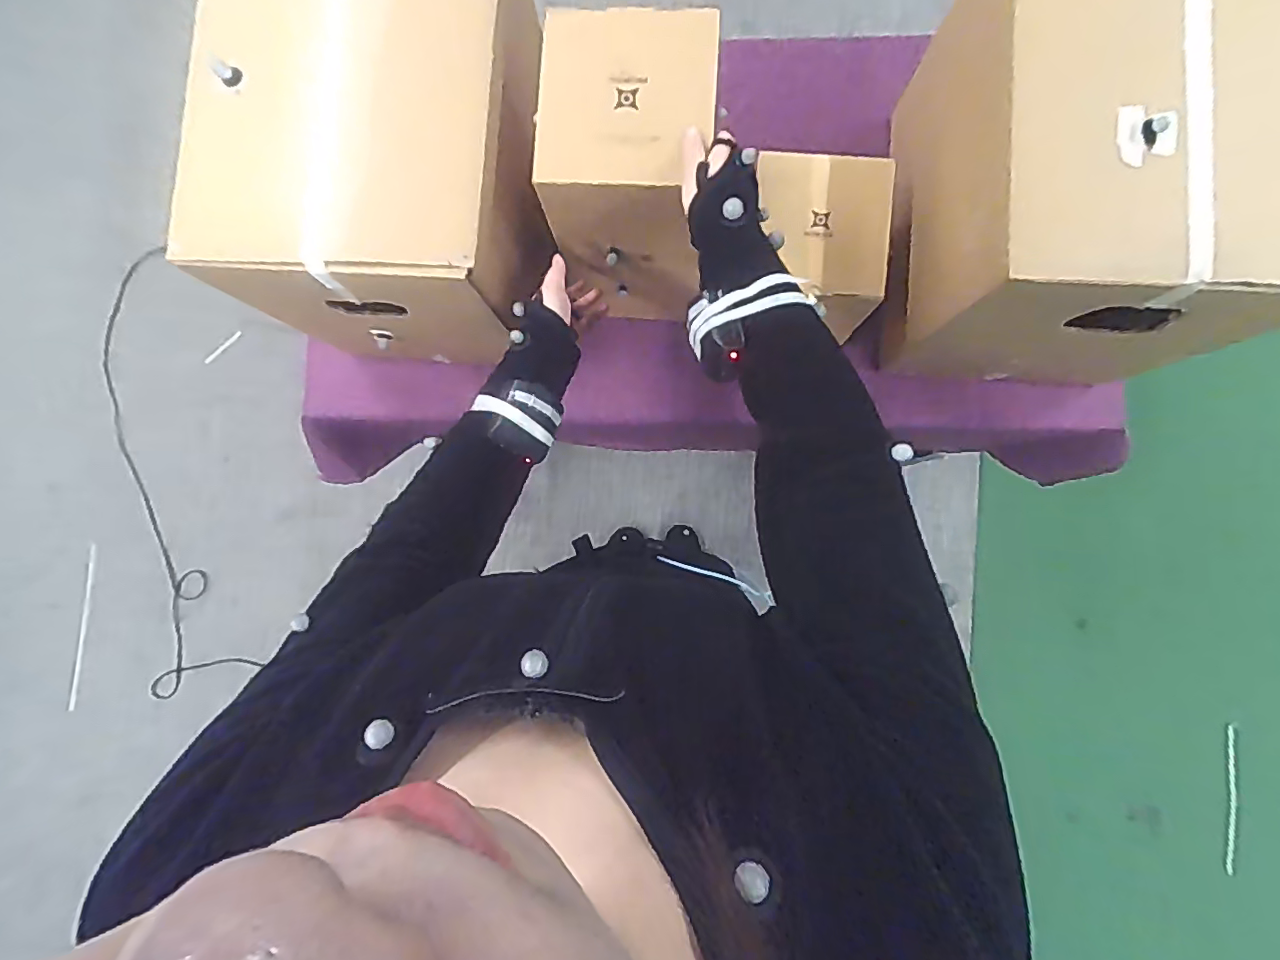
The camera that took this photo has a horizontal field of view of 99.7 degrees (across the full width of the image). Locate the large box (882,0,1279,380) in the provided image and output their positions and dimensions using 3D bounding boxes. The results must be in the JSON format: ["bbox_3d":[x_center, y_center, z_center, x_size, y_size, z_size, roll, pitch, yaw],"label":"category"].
[{"bbox_3d":[0.513,-0.361,0.653,0.320,0.320,0.408,5,87,3],"label":"large box"}]
